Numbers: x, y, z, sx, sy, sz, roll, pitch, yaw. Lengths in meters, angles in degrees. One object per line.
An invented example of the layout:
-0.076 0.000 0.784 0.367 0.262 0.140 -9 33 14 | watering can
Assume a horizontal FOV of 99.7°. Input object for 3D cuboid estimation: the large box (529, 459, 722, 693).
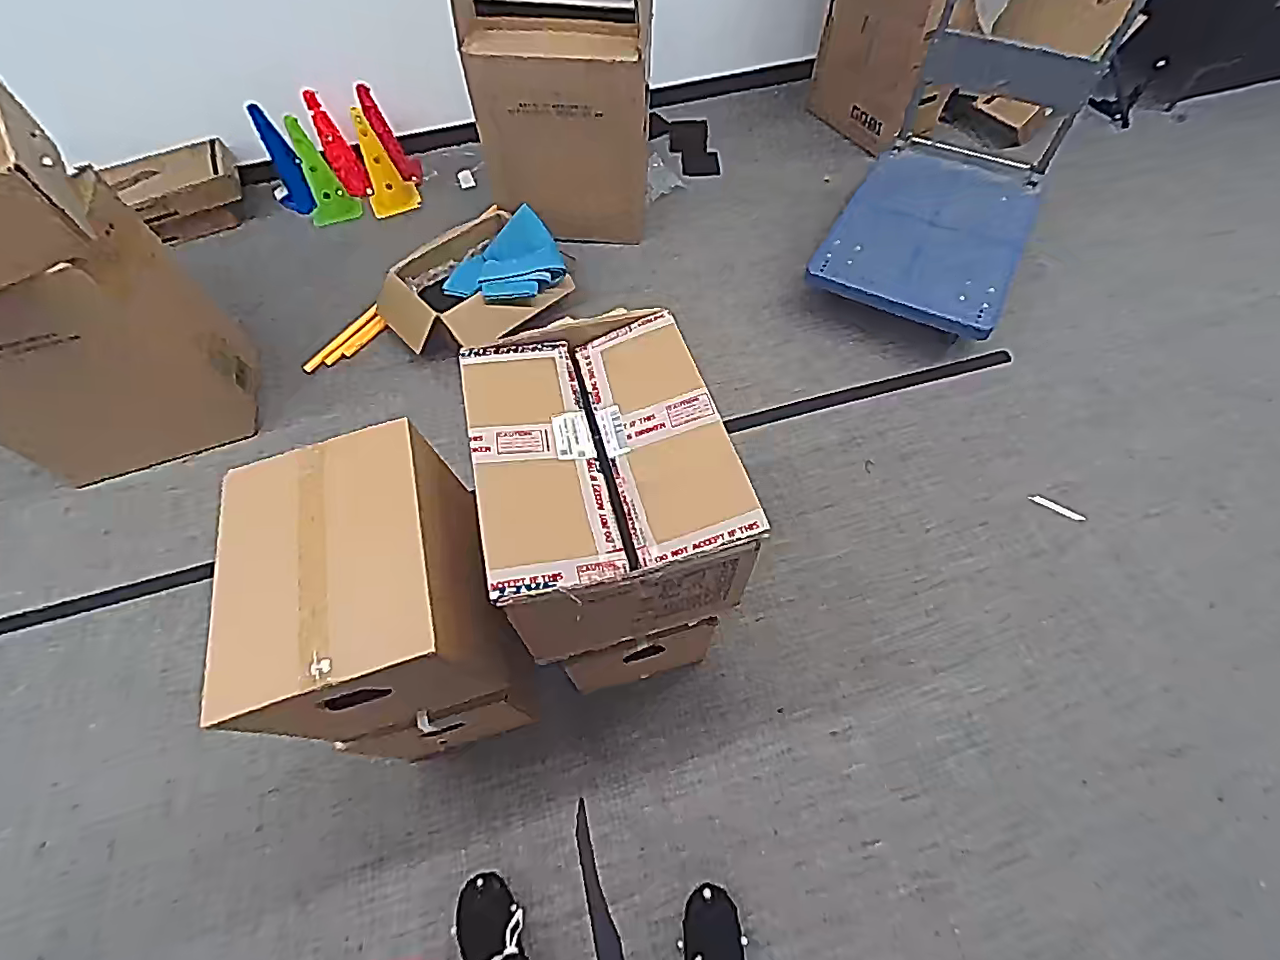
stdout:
-0.041 0.225 1.255 0.320 0.320 0.408 -16 60 -7 | large box
